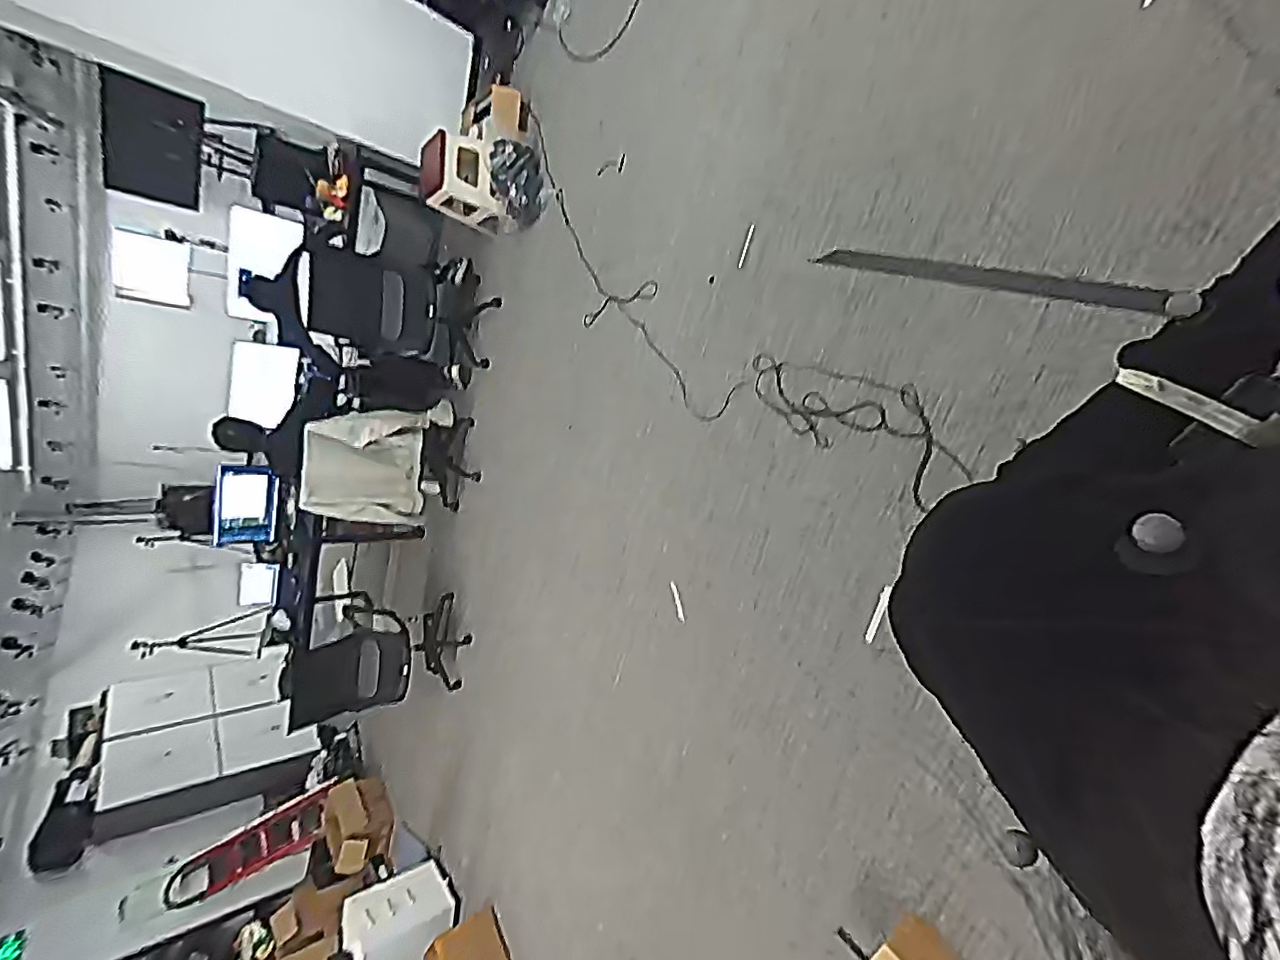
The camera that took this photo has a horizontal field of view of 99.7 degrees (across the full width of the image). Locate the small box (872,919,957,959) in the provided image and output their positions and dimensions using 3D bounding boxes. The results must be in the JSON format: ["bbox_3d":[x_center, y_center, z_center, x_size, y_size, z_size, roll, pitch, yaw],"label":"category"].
[{"bbox_3d":[0.700,1.269,1.373,0.179,0.176,0.168,38,117,41],"label":"small box"}]
